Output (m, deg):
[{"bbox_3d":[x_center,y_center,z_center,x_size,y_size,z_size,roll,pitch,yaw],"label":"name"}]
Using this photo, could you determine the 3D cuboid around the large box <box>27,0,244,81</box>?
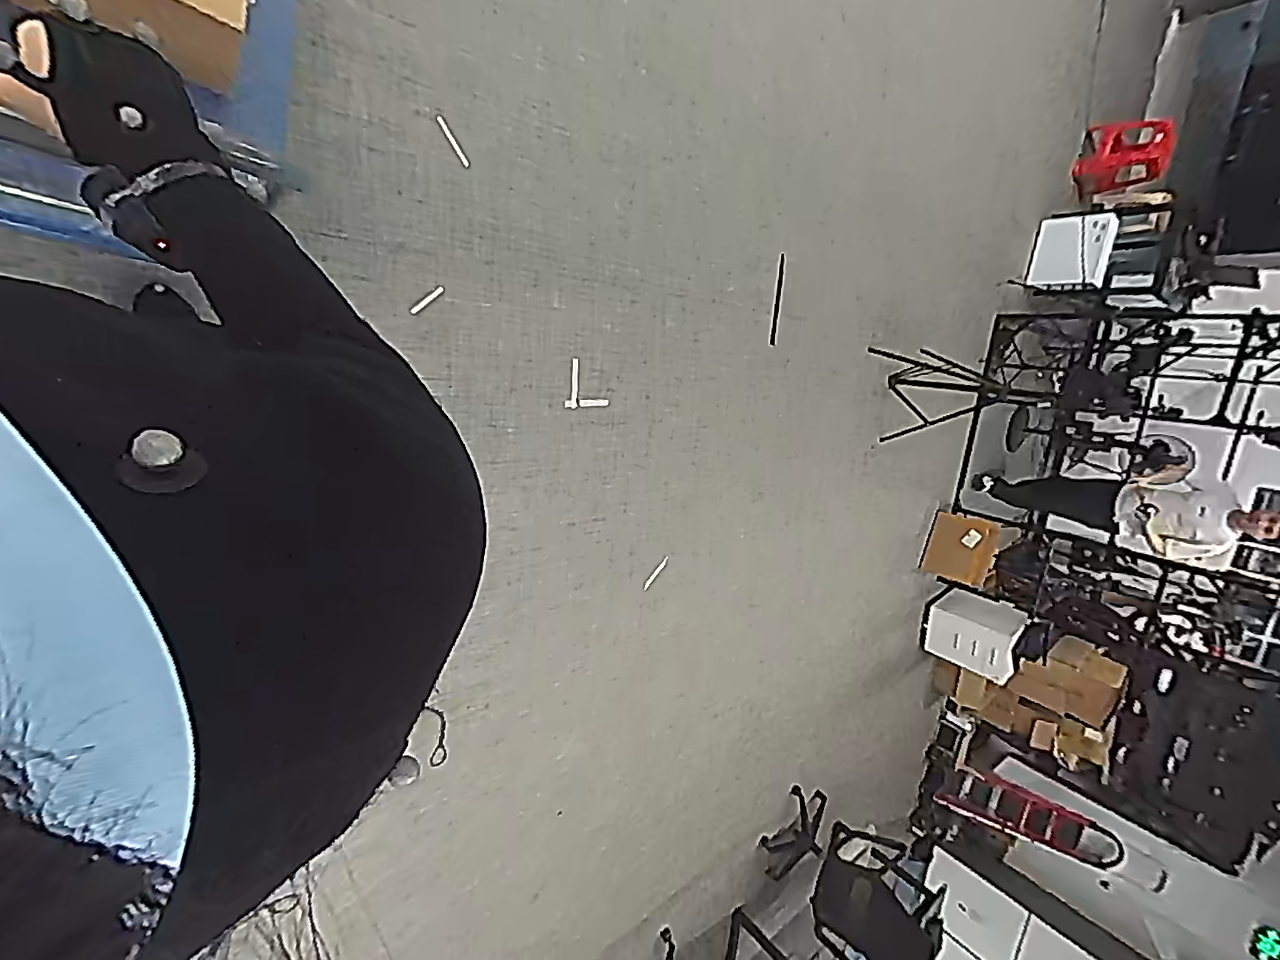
[{"bbox_3d":[-0.762,-0.823,0.703,0.408,0.320,0.320,5,99,-41],"label":"large box"}]
